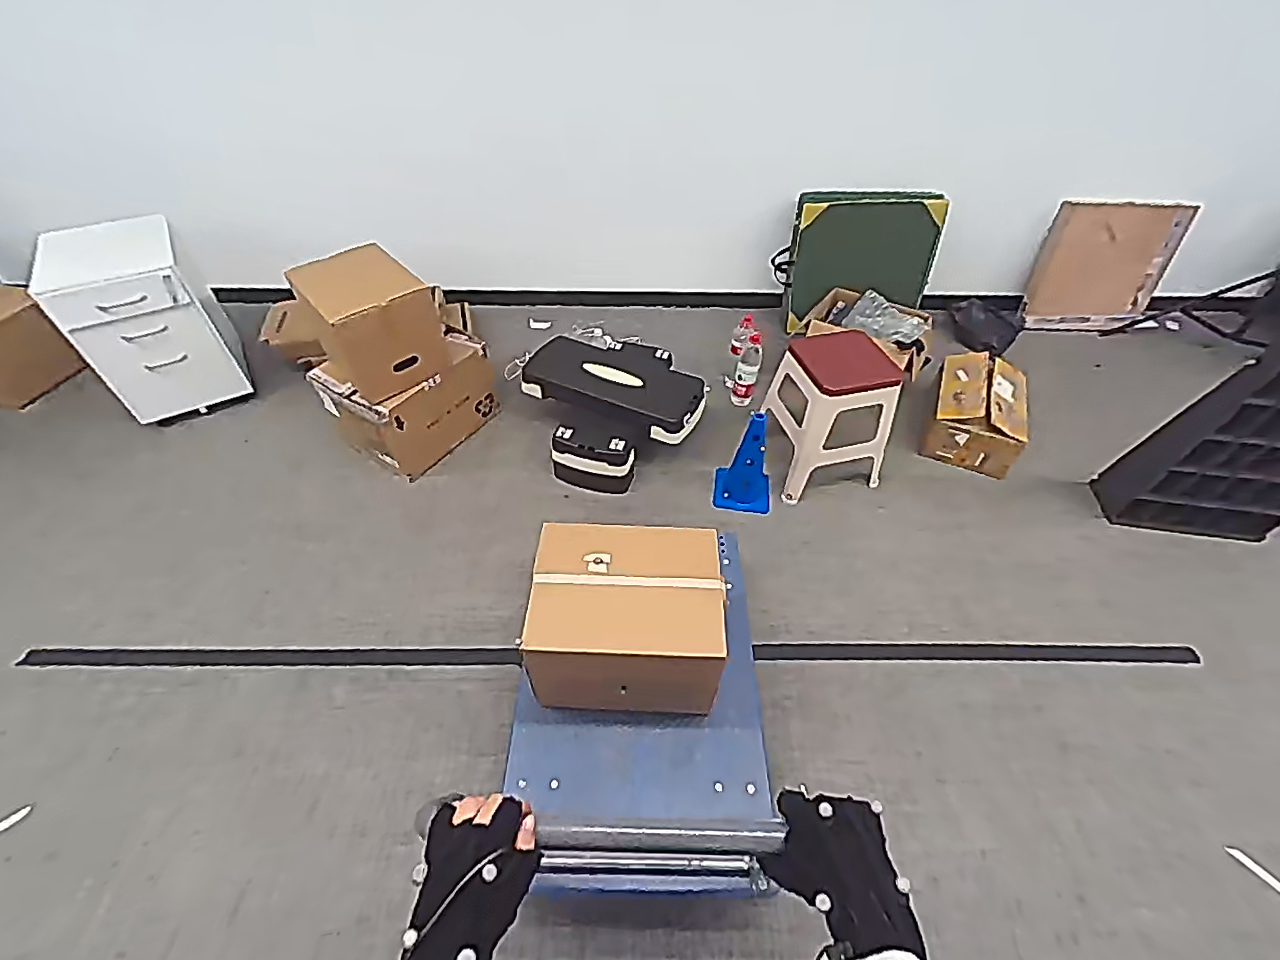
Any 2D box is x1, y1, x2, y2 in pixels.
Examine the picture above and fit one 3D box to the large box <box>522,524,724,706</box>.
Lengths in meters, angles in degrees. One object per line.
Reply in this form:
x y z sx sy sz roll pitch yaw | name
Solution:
-0.030 0.319 1.264 0.408 0.320 0.320 2 48 1 | large box
